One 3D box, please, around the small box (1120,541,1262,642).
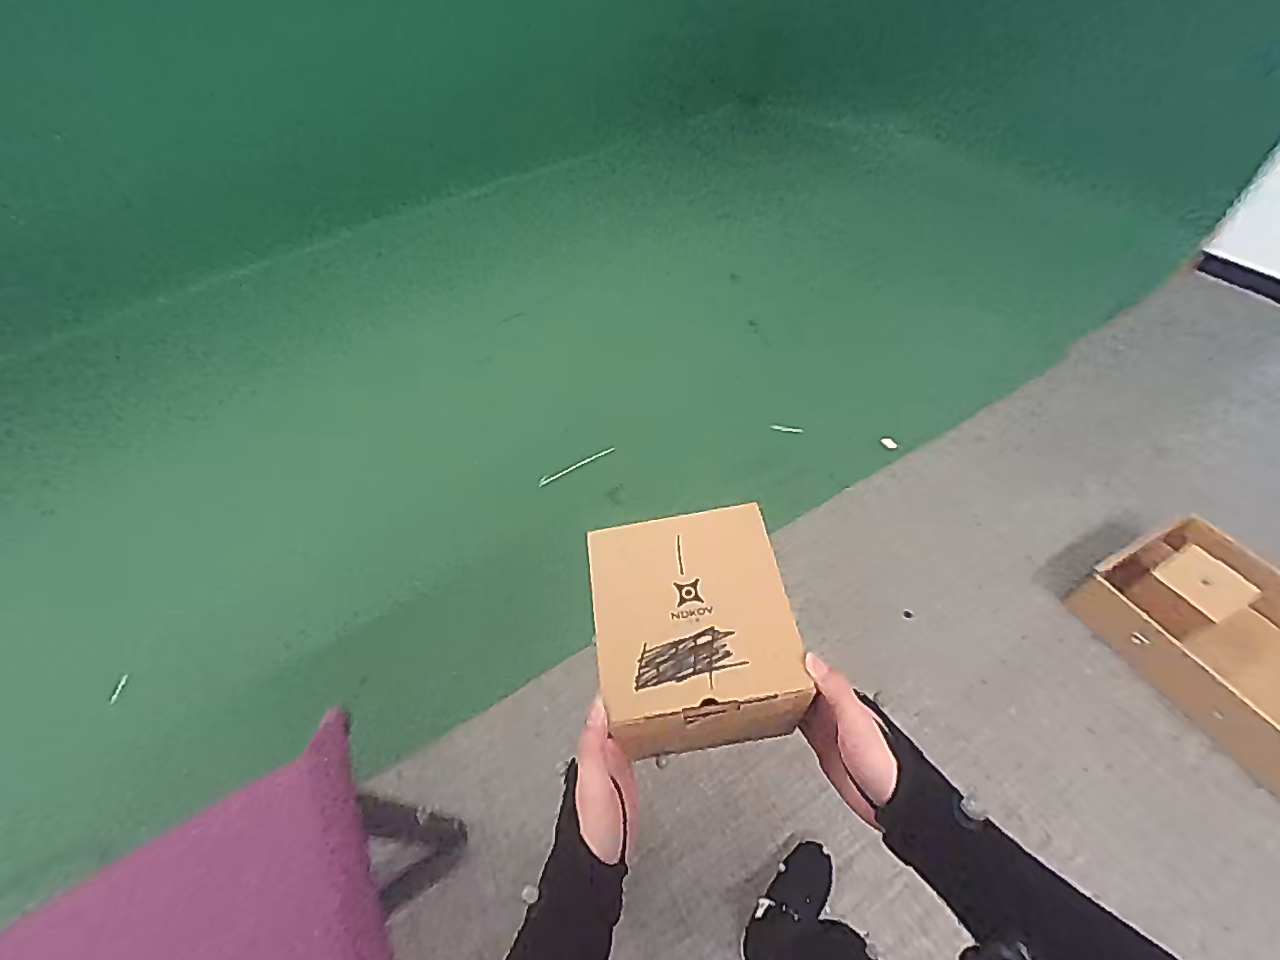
[{"bbox_3d":[1.445,0.298,1.434,0.179,0.176,0.168,-25,54,-12],"label":"small box"}]
